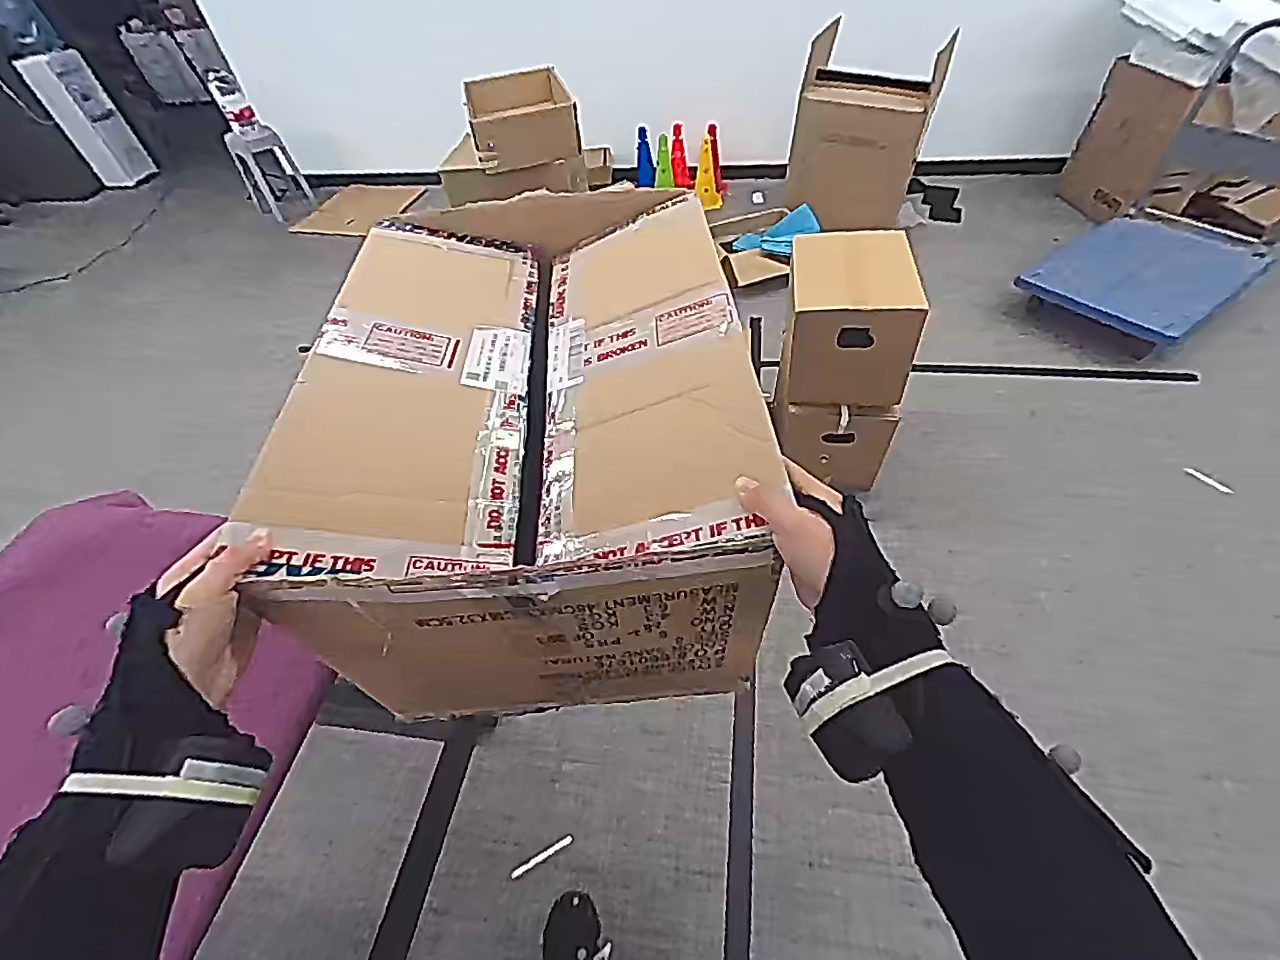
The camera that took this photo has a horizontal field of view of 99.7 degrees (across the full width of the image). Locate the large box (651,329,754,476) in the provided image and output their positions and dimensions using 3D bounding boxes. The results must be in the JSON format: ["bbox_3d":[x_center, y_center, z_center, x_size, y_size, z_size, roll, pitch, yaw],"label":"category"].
[{"bbox_3d":[0.212,-0.267,1.845,0.320,0.320,0.408,2,50,8],"label":"large box"}]
